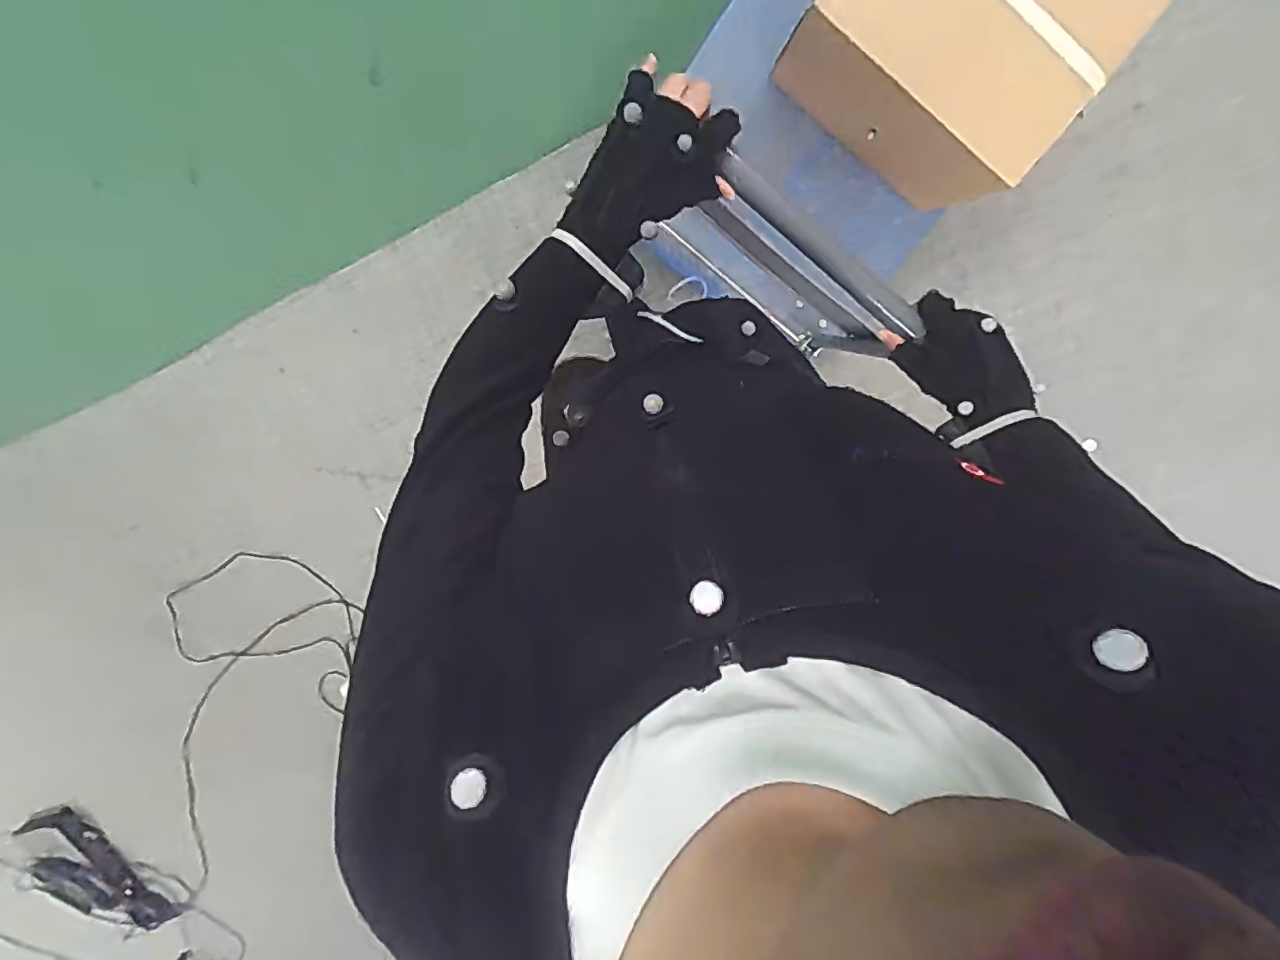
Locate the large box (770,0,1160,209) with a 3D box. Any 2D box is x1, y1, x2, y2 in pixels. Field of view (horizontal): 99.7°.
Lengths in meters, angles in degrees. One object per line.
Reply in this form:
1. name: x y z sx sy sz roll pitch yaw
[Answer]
1. large box: 0.484 -0.715 0.883 0.408 0.320 0.320 34 107 -9
